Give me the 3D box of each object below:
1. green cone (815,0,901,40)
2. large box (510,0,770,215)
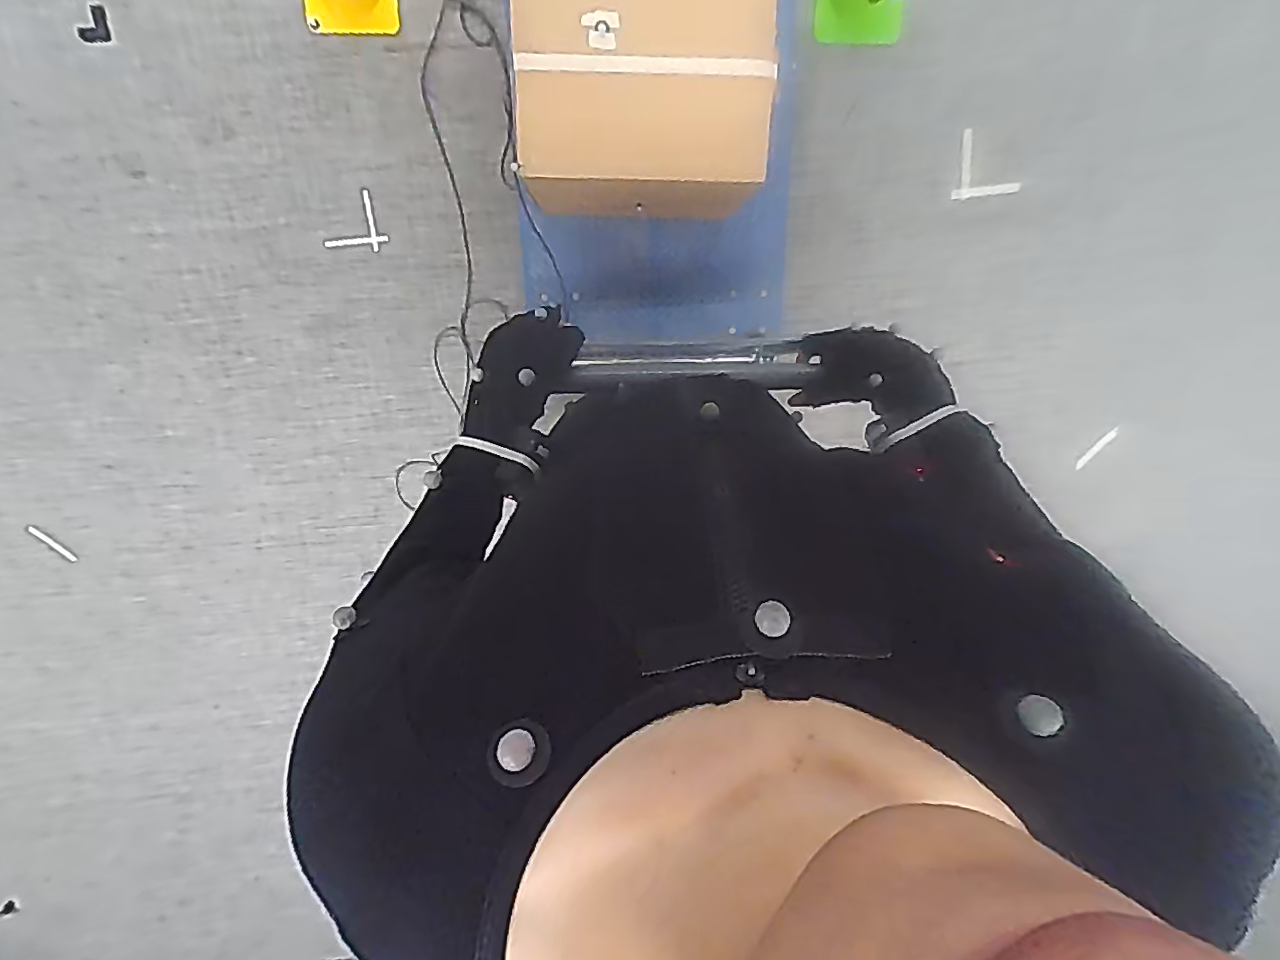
[{"bbox_3d":[0.507,-1.070,1.055,0.202,0.368,0.200,-1,105,-3],"label":"green cone"},{"bbox_3d":[0.000,-0.679,0.989,0.408,0.320,0.320,0,105,-2],"label":"large box"}]
